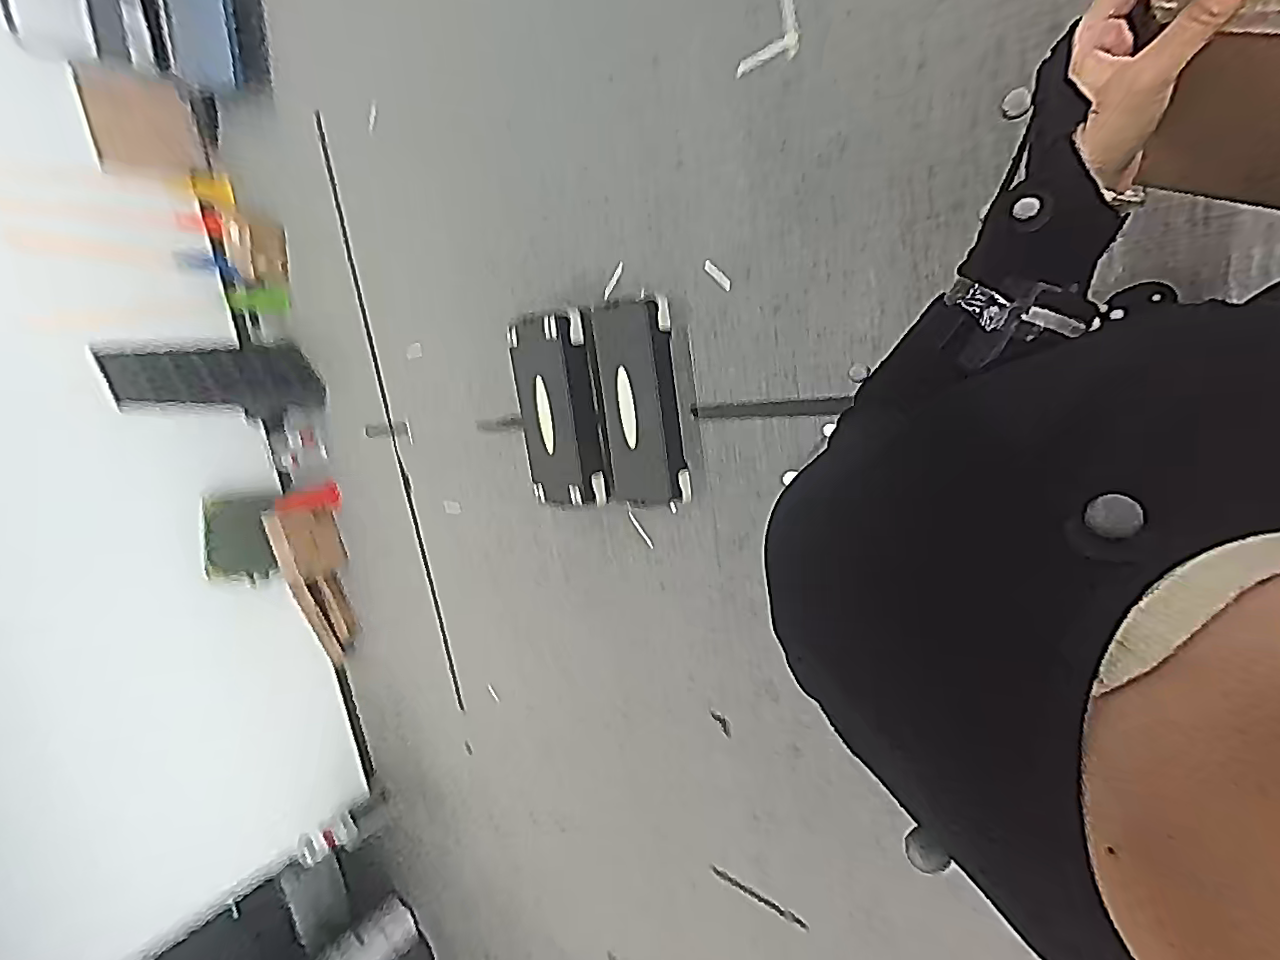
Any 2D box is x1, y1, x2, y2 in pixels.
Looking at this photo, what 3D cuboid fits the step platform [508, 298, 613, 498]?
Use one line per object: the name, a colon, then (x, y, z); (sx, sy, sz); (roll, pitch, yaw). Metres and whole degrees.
step platform: (-0.279, -0.278, 1.893); (0.286, 0.204, 0.684); (10, 109, 38)
